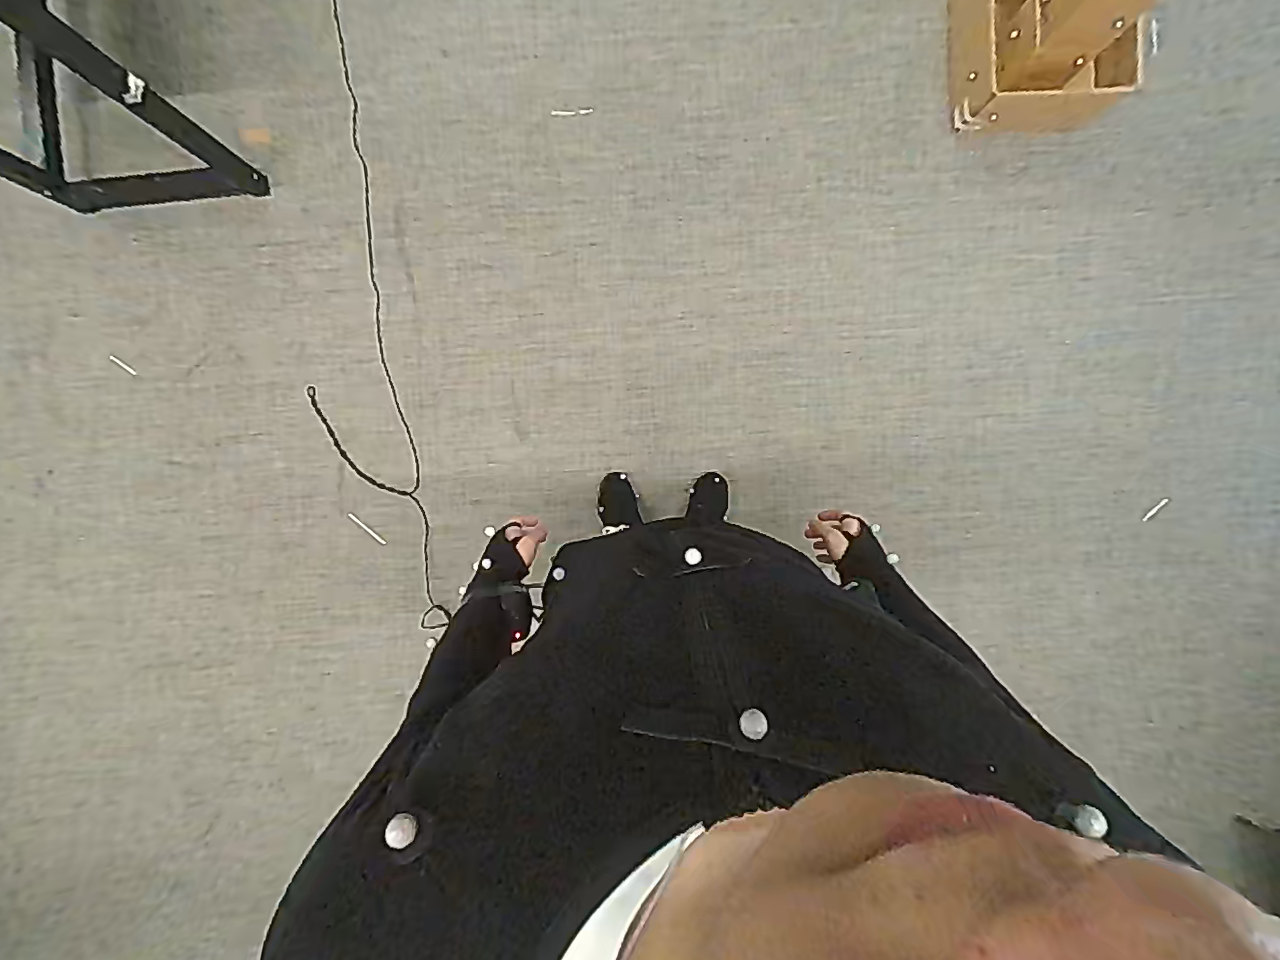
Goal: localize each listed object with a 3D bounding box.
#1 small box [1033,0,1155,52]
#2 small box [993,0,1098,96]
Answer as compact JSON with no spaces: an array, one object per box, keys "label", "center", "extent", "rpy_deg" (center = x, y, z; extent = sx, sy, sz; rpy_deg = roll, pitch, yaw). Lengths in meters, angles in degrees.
[{"label":"small box","center":[1.110,-1.194,1.324],"extent":[0.179,0.176,0.168],"rpy_deg":[0,89,0]},{"label":"small box","center":[1.105,-1.194,1.488],"extent":[0.179,0.176,0.168],"rpy_deg":[-3,91,0]}]
